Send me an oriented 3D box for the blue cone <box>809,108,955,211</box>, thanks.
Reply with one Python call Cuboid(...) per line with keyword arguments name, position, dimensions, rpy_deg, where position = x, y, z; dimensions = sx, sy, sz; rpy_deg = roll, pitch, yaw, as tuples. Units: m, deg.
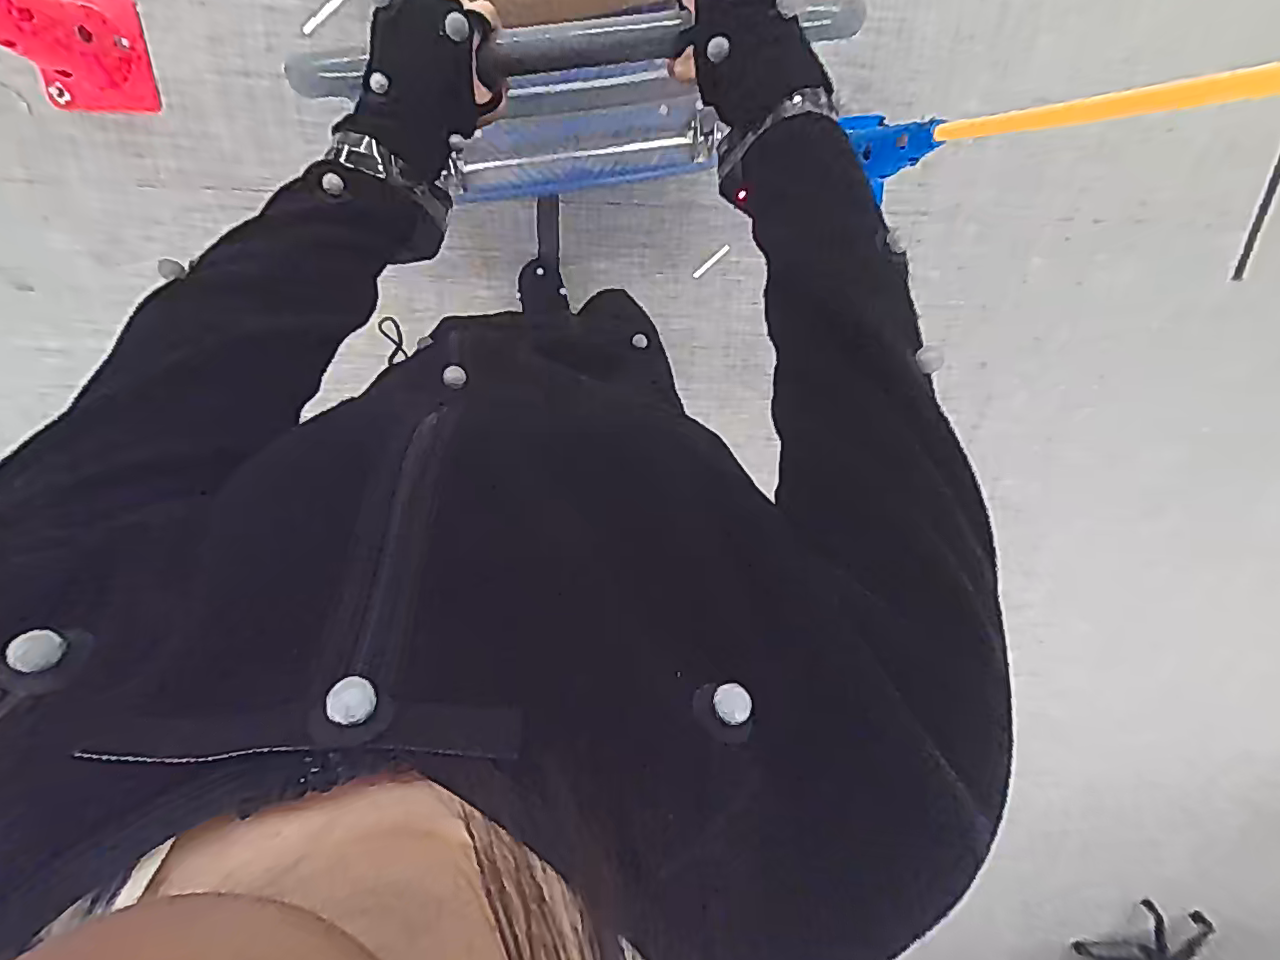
Cuboid(name="blue cone", position=(0.501, -0.670, 1.097), dimensions=(0.193, 0.380, 0.192), rpy_deg=(-4, 111, -6))
